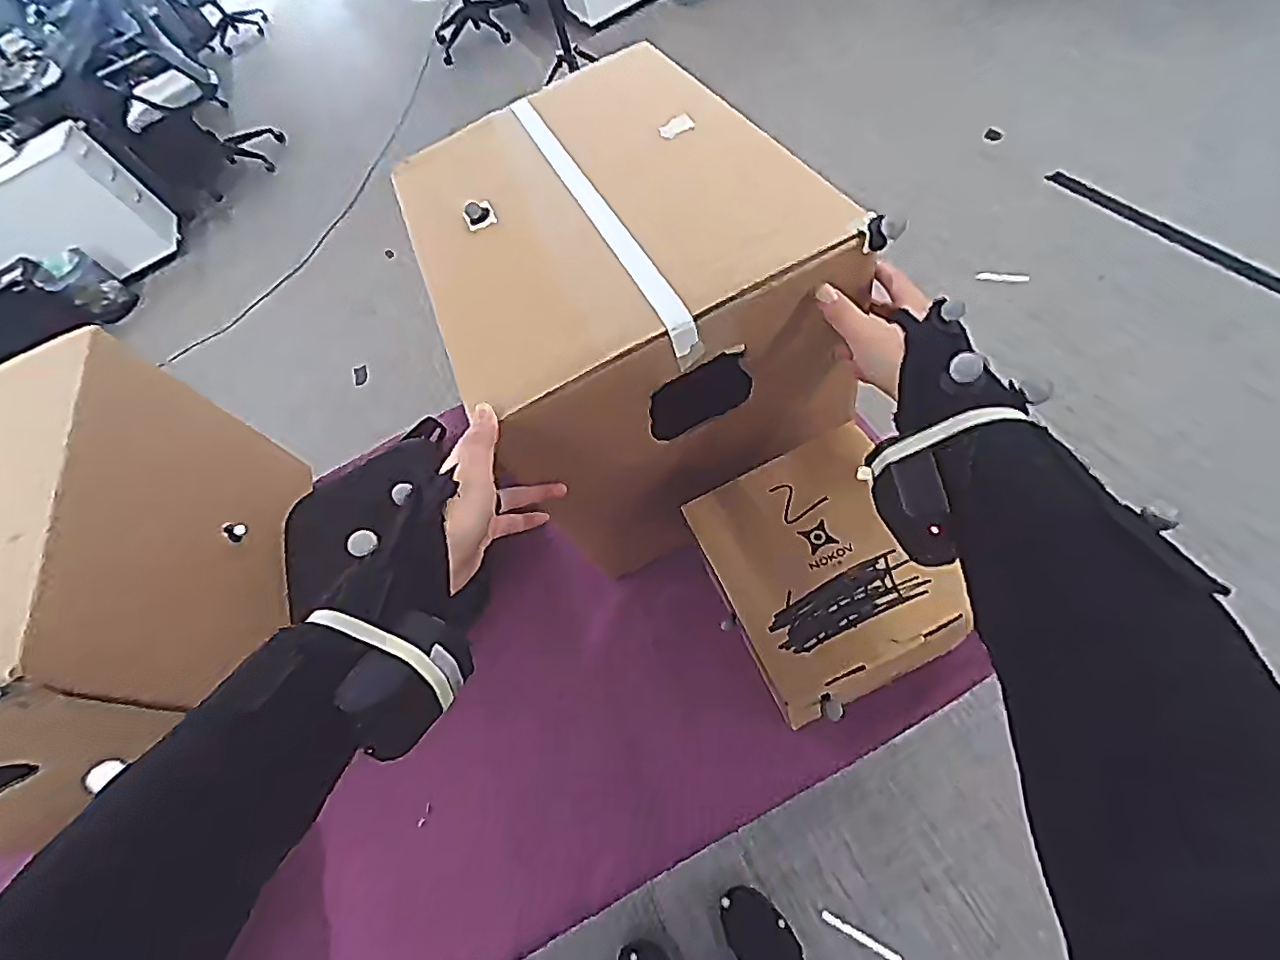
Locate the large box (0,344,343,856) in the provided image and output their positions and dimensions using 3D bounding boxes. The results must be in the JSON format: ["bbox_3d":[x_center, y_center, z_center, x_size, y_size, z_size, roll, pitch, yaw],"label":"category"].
[{"bbox_3d":[-0.594,0.136,0.607,0.320,0.320,0.408,-29,59,0],"label":"large box"}]
